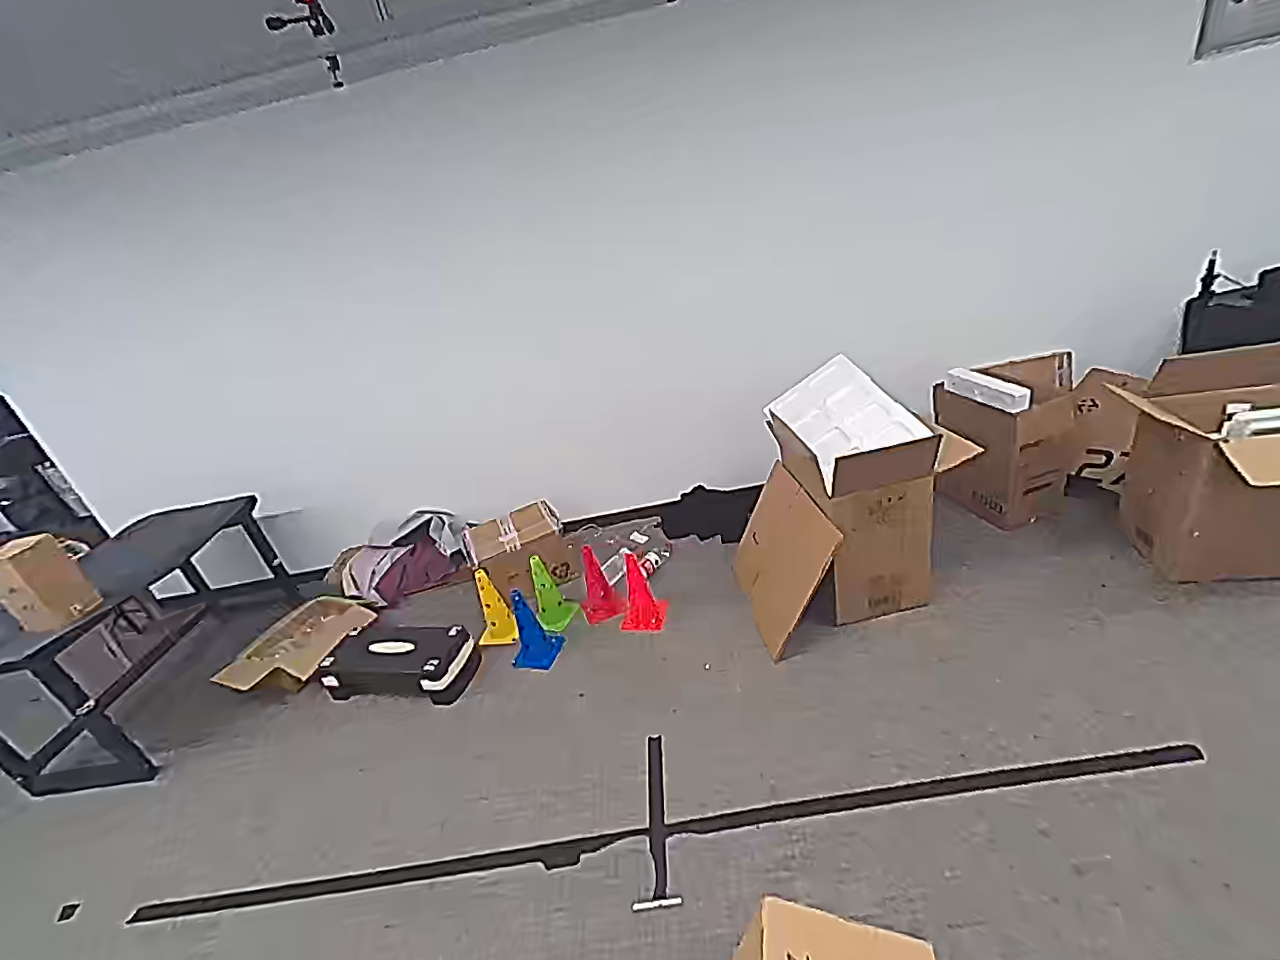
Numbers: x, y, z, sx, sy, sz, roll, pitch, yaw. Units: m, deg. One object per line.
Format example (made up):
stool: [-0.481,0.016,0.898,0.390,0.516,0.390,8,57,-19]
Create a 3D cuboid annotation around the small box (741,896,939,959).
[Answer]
small box: [0.188,0.559,0.528,0.179,0.176,0.168,10,31,8]
